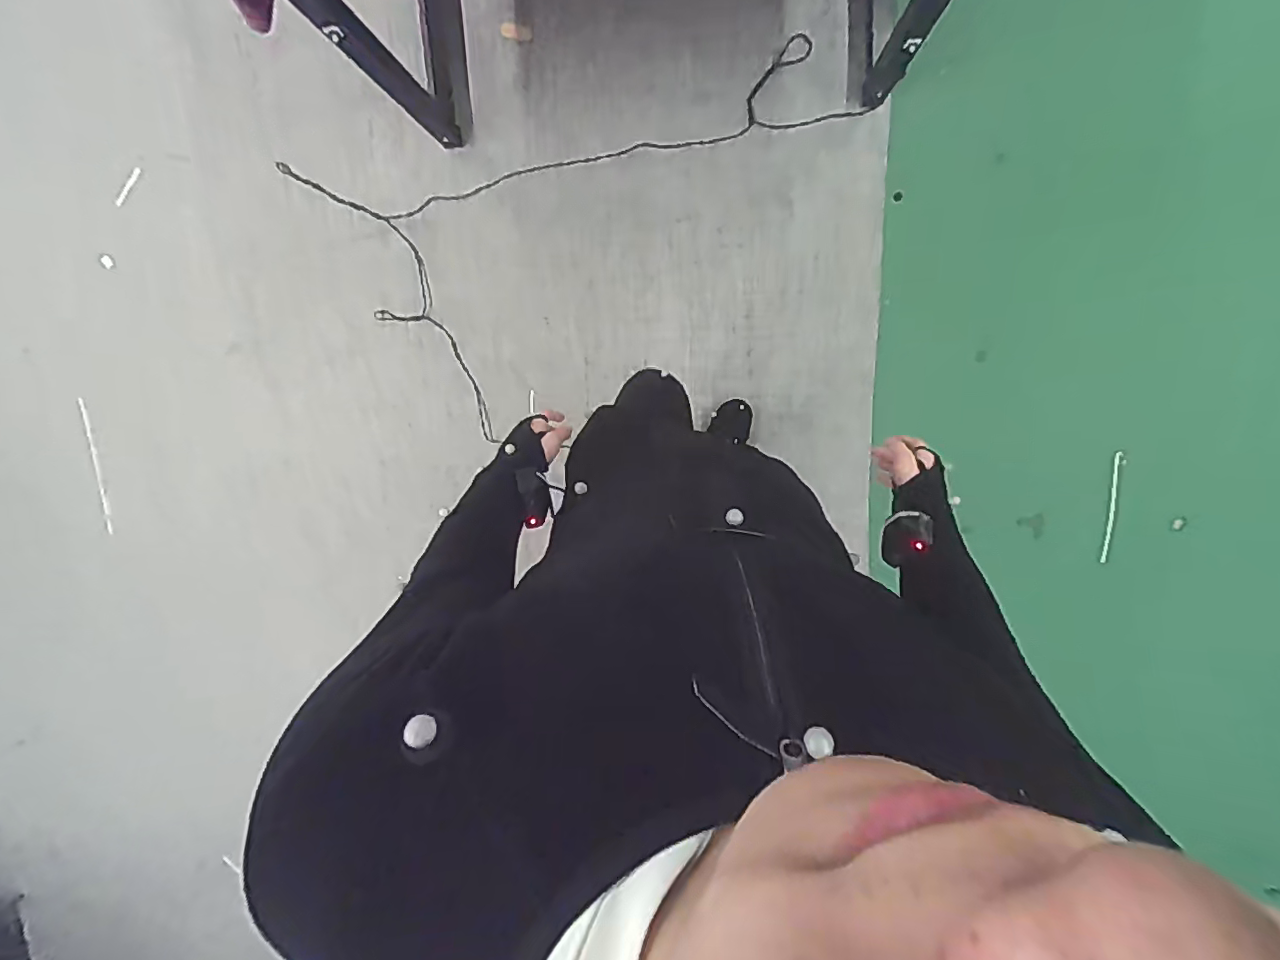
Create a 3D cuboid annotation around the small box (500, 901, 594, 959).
[{"bbox_3d":[-0.205,1.067,1.177,0.179,0.176,0.168,5,103,4],"label":"small box"}]
